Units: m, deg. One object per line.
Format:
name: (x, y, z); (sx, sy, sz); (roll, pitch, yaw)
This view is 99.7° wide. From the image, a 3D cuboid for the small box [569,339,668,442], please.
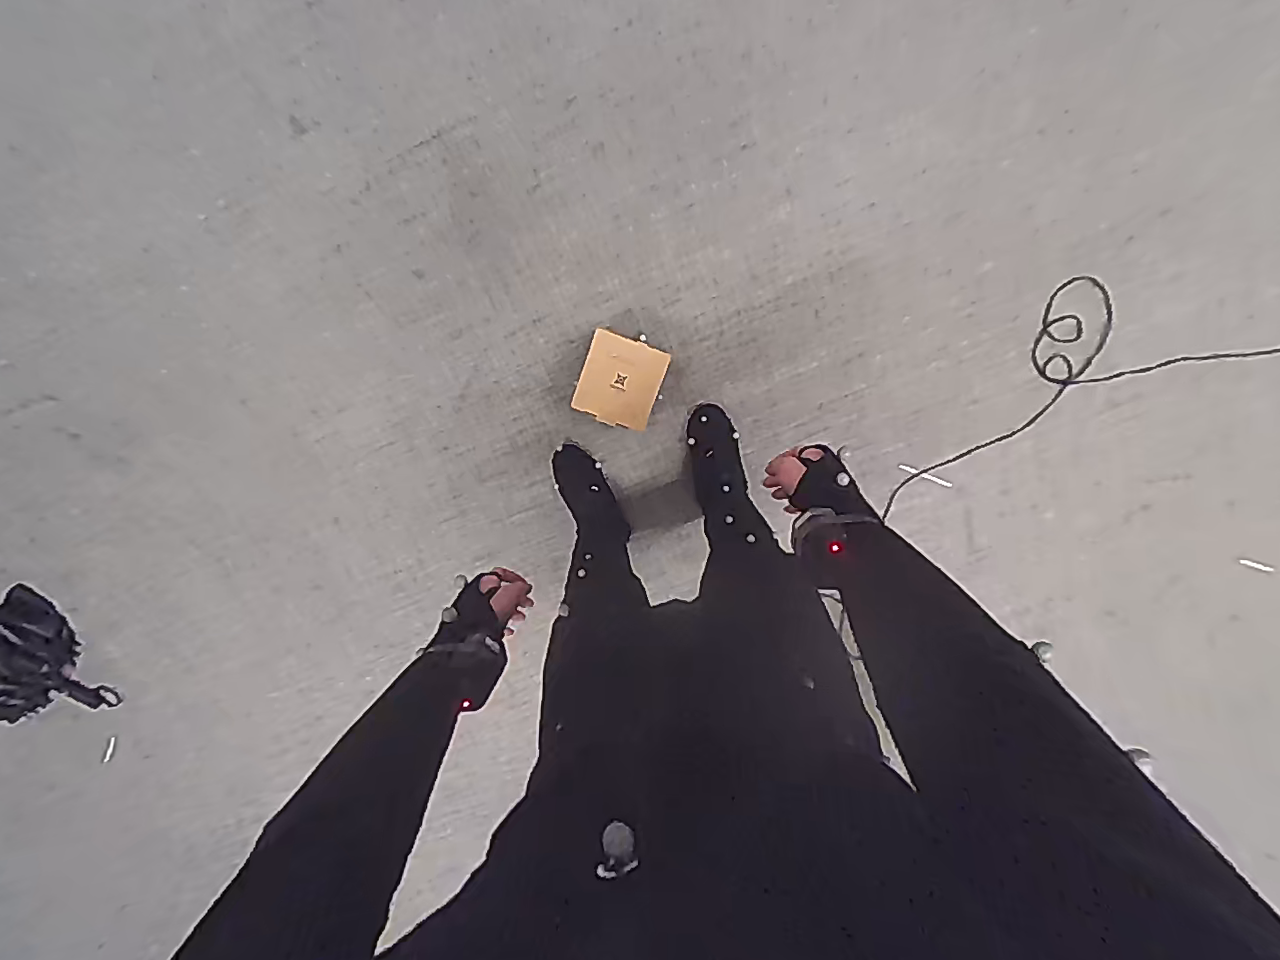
small box: (-0.044, -0.203, 1.209); (0.168, 0.176, 0.179); (19, 103, -4)
